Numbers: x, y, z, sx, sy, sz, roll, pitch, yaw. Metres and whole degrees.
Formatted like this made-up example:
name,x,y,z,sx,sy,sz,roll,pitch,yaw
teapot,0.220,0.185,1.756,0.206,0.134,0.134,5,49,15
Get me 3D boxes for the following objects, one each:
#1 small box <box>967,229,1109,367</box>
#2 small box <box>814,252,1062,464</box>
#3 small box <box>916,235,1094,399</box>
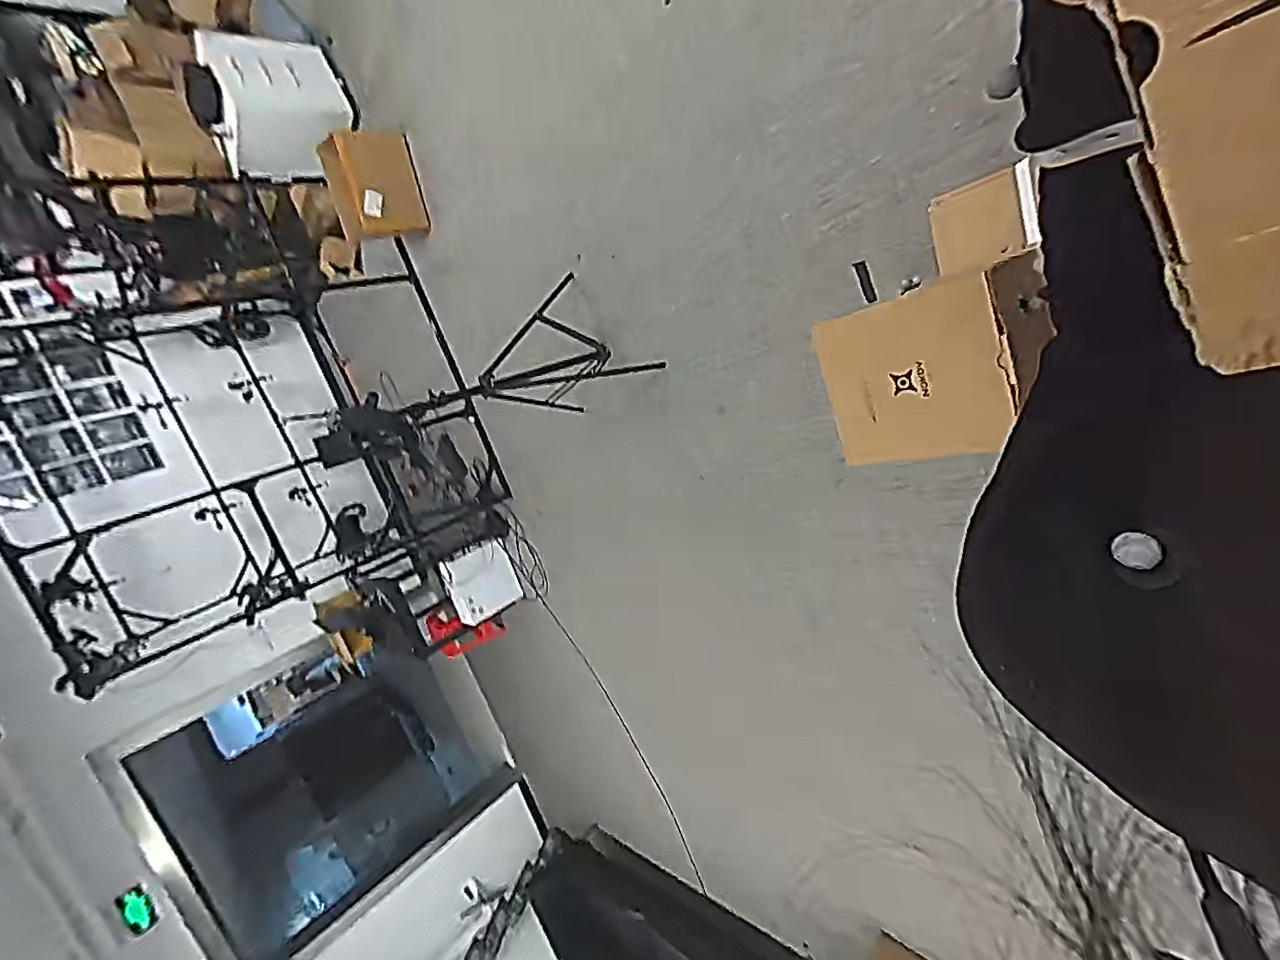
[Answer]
name,x,y,z,sx,sy,sz,roll,pitch,yaw
small box,0.553,-0.247,0.782,0.179,0.176,0.168,-5,108,49
small box,0.325,-0.129,0.583,0.179,0.176,0.168,-8,105,52
small box,0.441,-0.189,0.679,0.179,0.176,0.168,-7,106,51
